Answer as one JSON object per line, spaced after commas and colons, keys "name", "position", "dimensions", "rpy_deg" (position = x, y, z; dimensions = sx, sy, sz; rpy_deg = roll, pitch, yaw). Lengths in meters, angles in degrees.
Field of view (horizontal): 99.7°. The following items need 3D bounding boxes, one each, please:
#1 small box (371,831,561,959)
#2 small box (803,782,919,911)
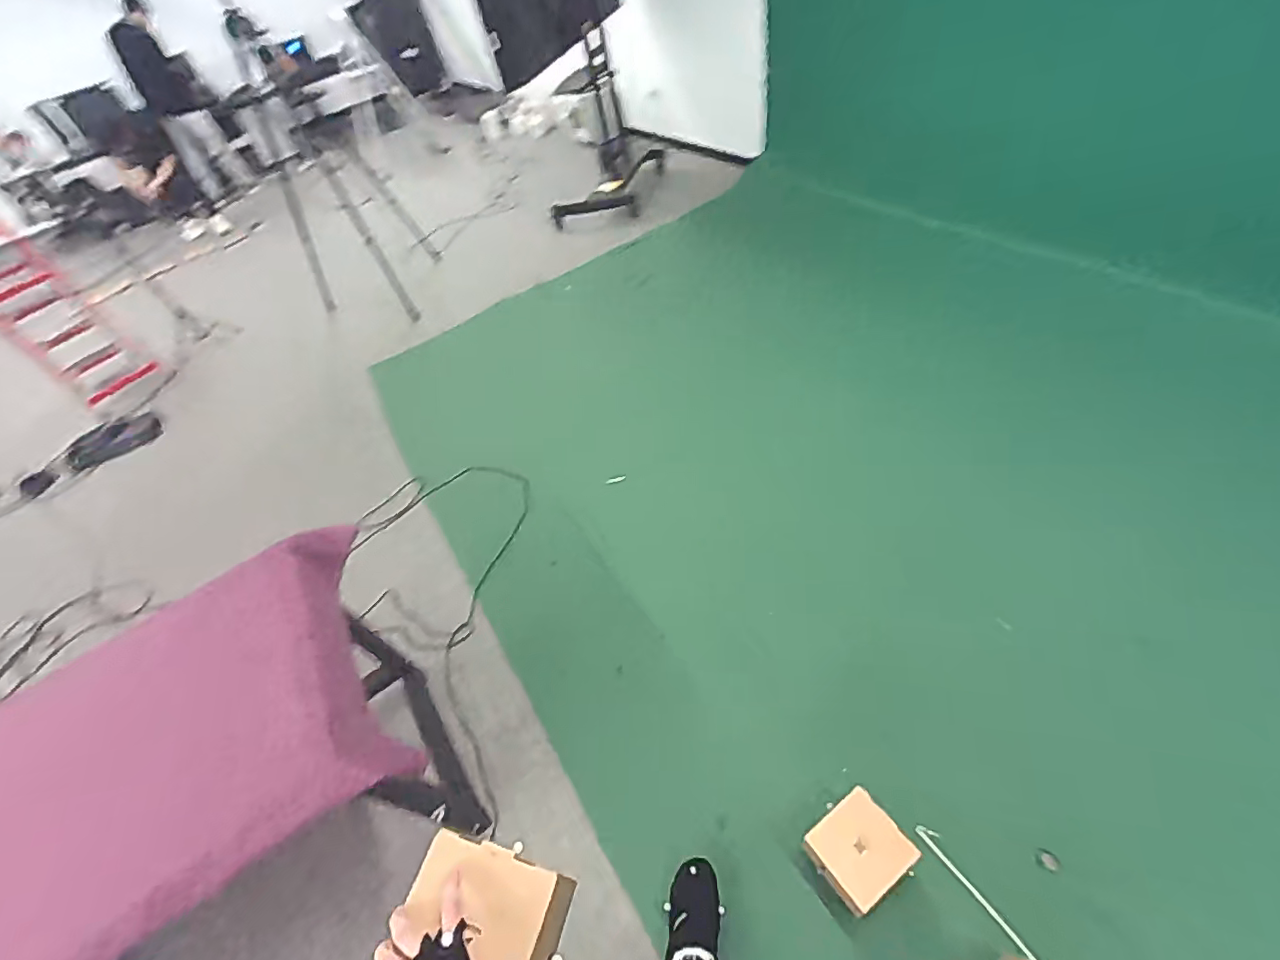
{"name": "small box", "position": [-0.208, 0.574, 0.675], "dimensions": [0.168, 0.176, 0.179], "rpy_deg": [11, 52, 13]}
{"name": "small box", "position": [0.488, 0.828, 1.215], "dimensions": [0.179, 0.176, 0.168], "rpy_deg": [-33, 49, -15]}
